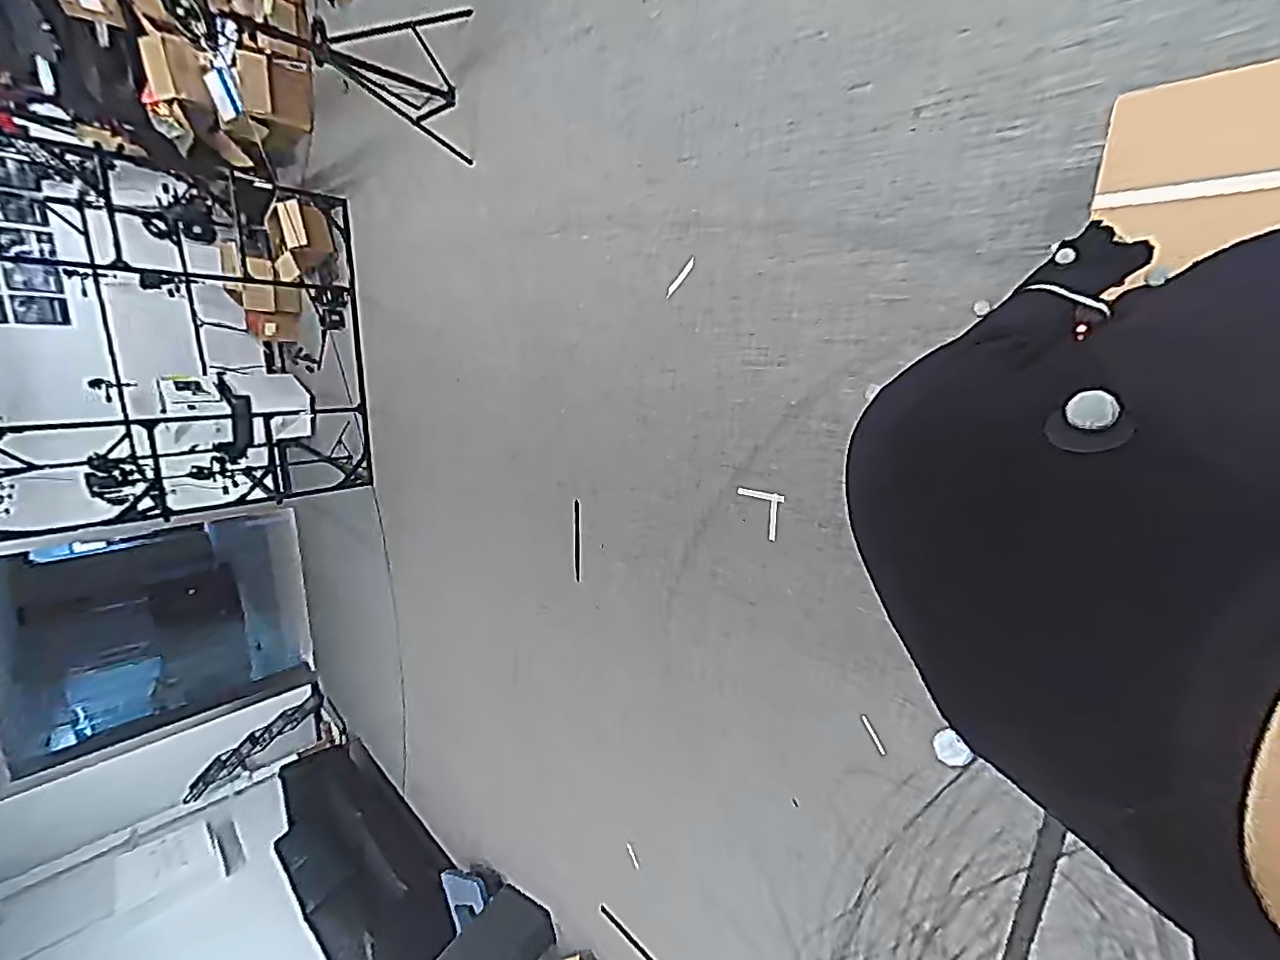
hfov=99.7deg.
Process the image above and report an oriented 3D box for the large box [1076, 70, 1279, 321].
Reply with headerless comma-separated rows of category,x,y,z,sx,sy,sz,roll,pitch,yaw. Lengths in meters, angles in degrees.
large box,0.999,-0.434,0.872,0.408,0.320,0.320,14,108,42
